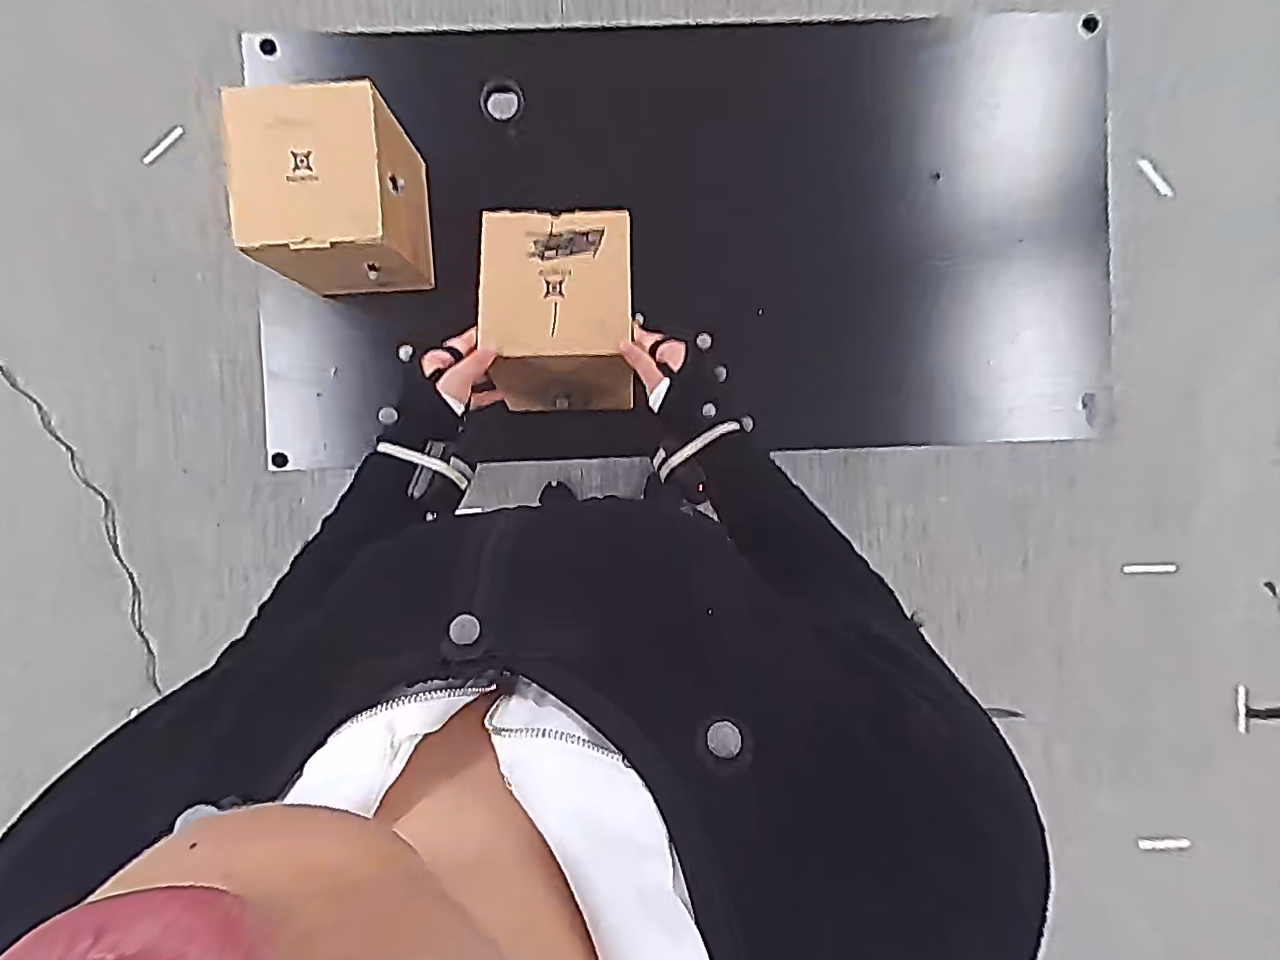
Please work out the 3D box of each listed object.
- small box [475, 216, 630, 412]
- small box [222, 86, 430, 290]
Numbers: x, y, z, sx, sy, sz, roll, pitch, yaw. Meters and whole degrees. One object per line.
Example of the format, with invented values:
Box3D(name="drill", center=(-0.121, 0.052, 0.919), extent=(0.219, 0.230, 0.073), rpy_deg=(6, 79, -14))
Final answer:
Box3D(name="small box", center=(-0.096, -0.196, 0.670), extent=(0.168, 0.176, 0.179), rpy_deg=(-1, 78, -1))
Box3D(name="small box", center=(-0.376, -0.348, 0.680), extent=(0.168, 0.176, 0.179), rpy_deg=(-4, 91, -3))
